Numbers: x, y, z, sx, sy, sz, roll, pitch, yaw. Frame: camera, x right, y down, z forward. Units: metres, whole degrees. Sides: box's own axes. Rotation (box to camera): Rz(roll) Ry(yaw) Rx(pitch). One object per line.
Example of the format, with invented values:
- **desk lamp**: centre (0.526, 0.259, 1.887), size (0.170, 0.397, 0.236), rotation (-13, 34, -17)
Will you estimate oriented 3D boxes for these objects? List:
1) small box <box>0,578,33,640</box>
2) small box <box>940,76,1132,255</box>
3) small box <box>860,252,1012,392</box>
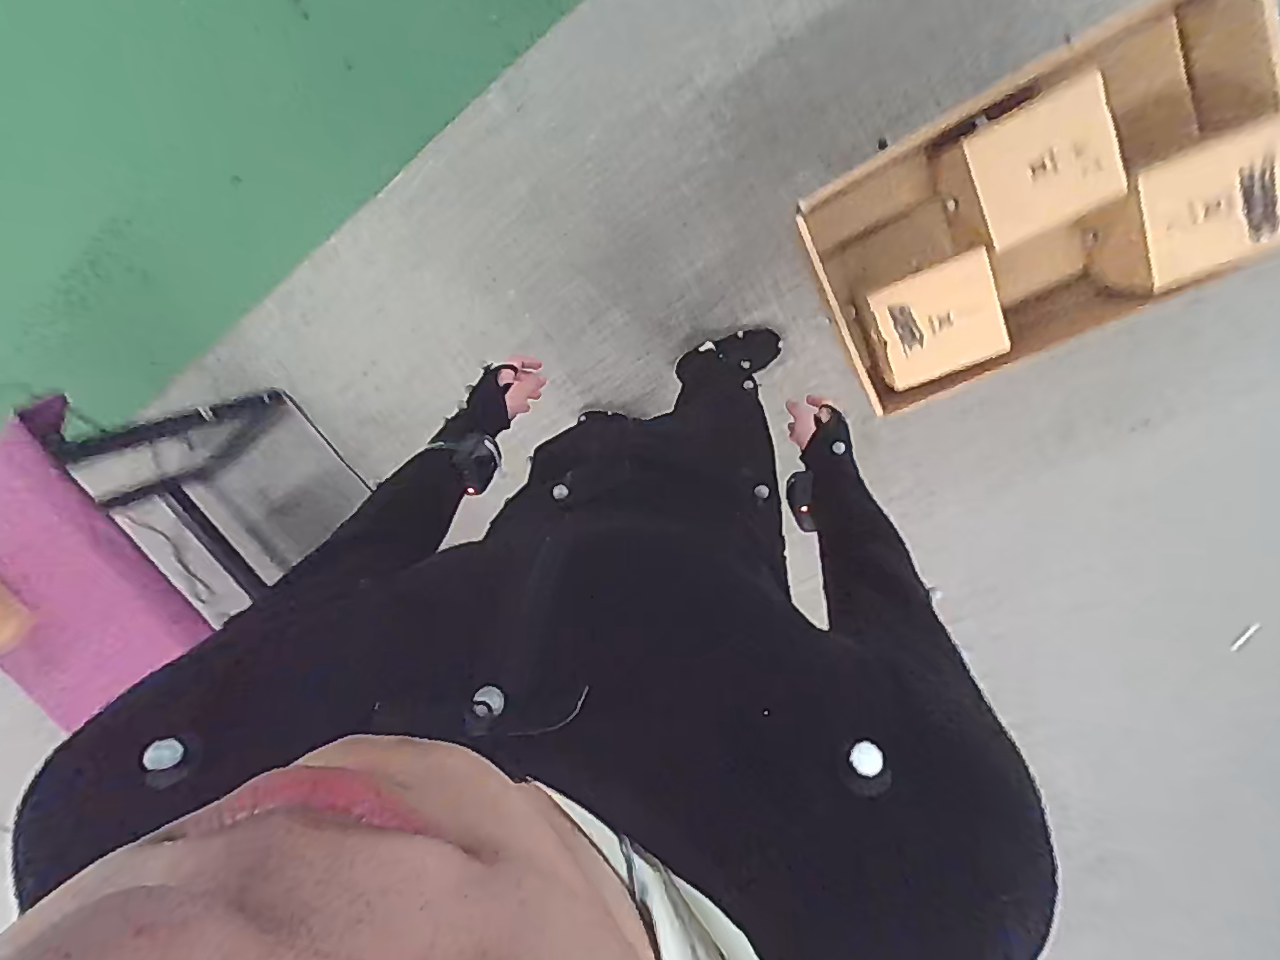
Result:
- **small box**: centre (-1.567, 0.310, 1.223), size (0.168, 0.176, 0.179), rotation (-34, 102, 20)
- **small box**: centre (0.587, -0.461, 0.829), size (0.179, 0.176, 0.168), rotation (-22, 106, 19)
- **small box**: centre (0.489, -0.269, 0.922), size (0.179, 0.176, 0.168), rotation (-20, 106, 18)
